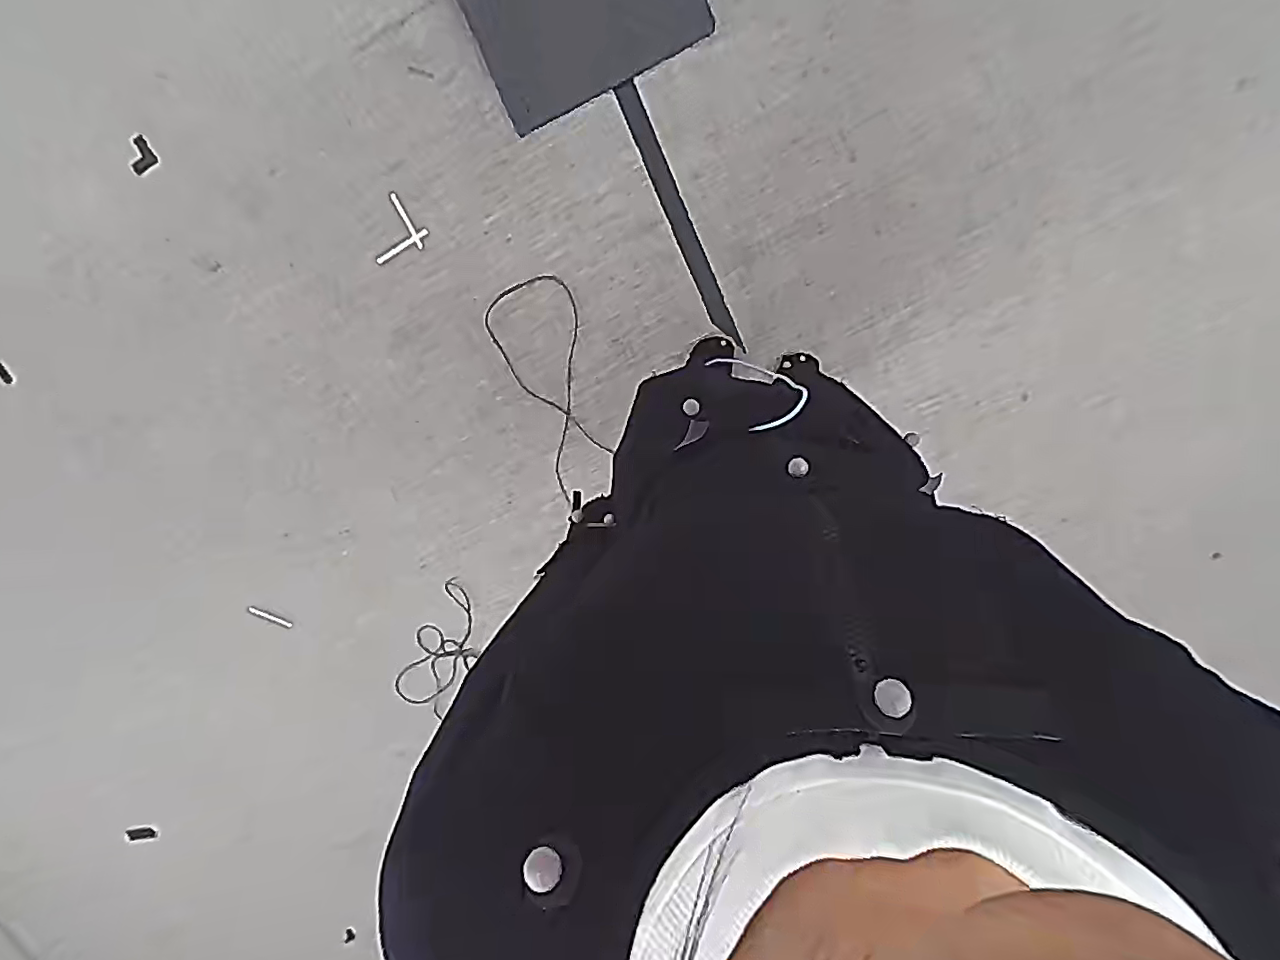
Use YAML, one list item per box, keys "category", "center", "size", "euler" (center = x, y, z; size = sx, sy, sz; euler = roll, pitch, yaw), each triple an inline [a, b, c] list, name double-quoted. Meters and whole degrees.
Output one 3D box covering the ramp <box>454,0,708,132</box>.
- category: "ramp"
  center: [-0.265, -1.301, 1.017]
  size: [0.509, 0.206, 0.991]
  euler: [-24, 104, 9]
